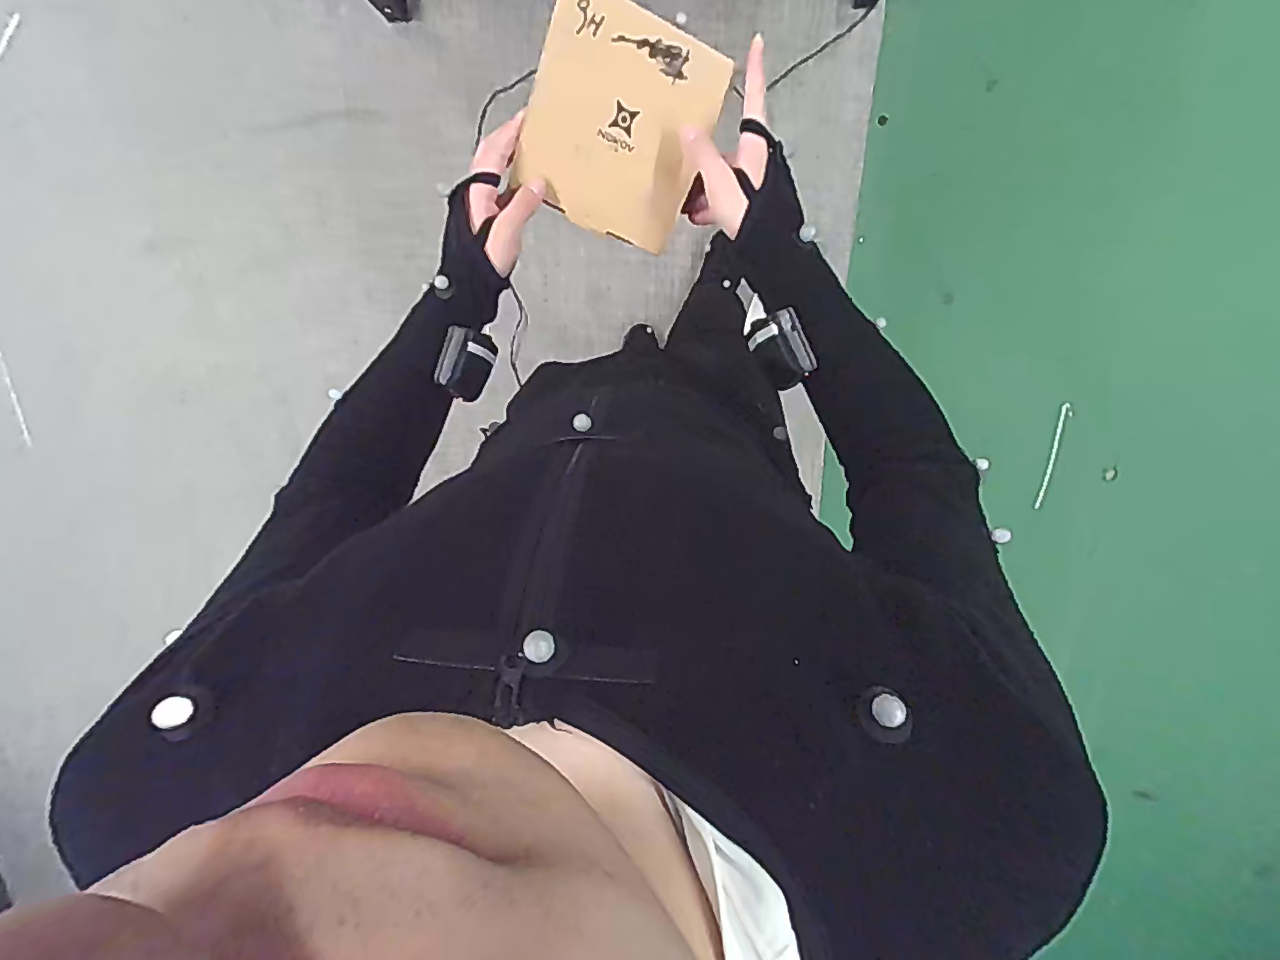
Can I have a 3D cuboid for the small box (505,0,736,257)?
[{"bbox_3d":[-0.023,-0.367,0.563,0.168,0.176,0.179,20,121,-15],"label":"small box"}]
